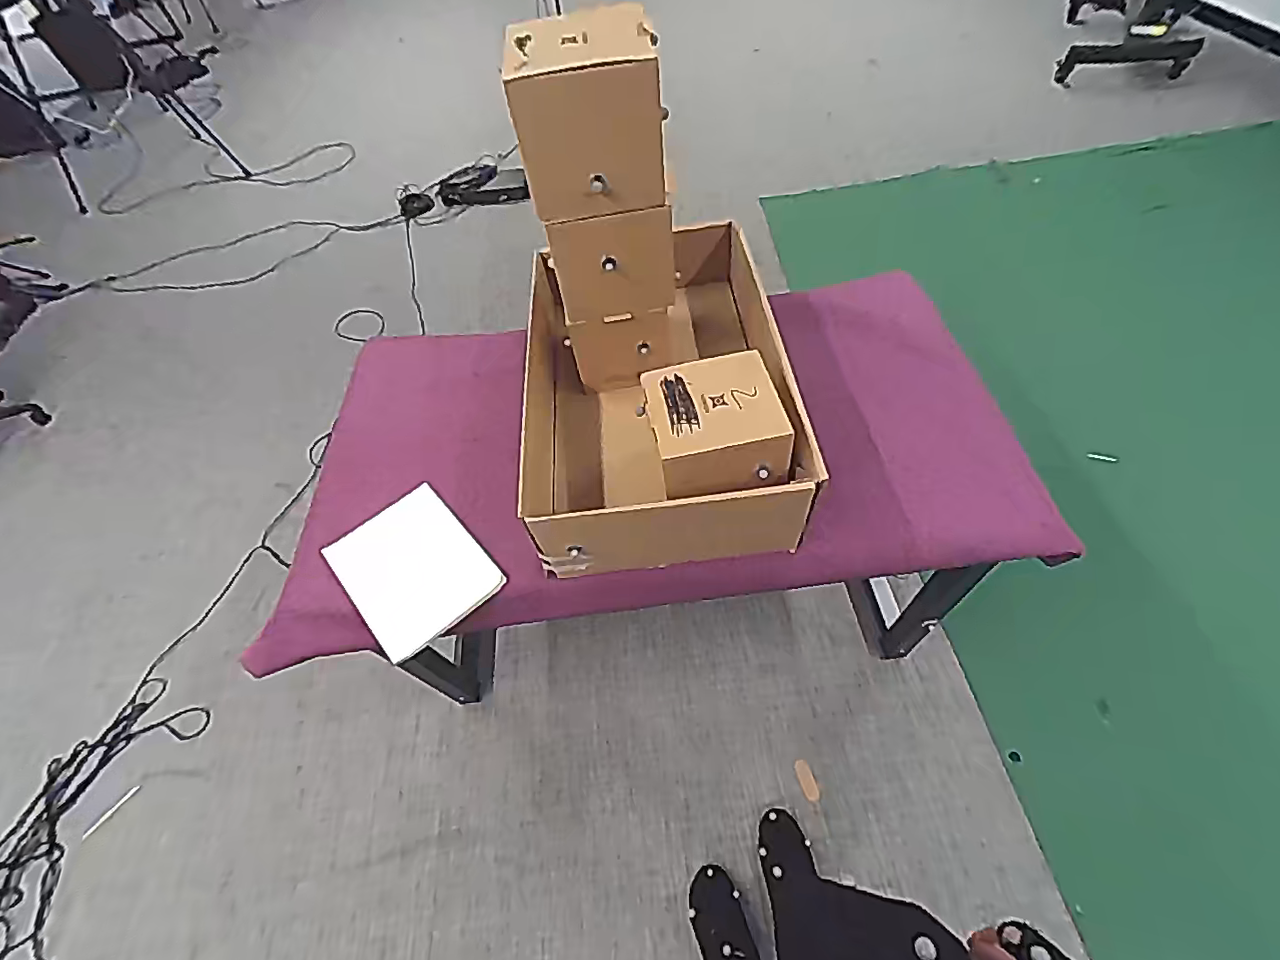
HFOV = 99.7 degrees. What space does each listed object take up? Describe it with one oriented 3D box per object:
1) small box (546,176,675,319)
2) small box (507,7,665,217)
[{"bbox_3d":[-0.042,-0.375,0.832,0.179,0.176,0.168,-9,56,1],"label":"small box"},{"bbox_3d":[-0.060,-0.469,0.698,0.179,0.176,0.168,-7,56,1],"label":"small box"}]
